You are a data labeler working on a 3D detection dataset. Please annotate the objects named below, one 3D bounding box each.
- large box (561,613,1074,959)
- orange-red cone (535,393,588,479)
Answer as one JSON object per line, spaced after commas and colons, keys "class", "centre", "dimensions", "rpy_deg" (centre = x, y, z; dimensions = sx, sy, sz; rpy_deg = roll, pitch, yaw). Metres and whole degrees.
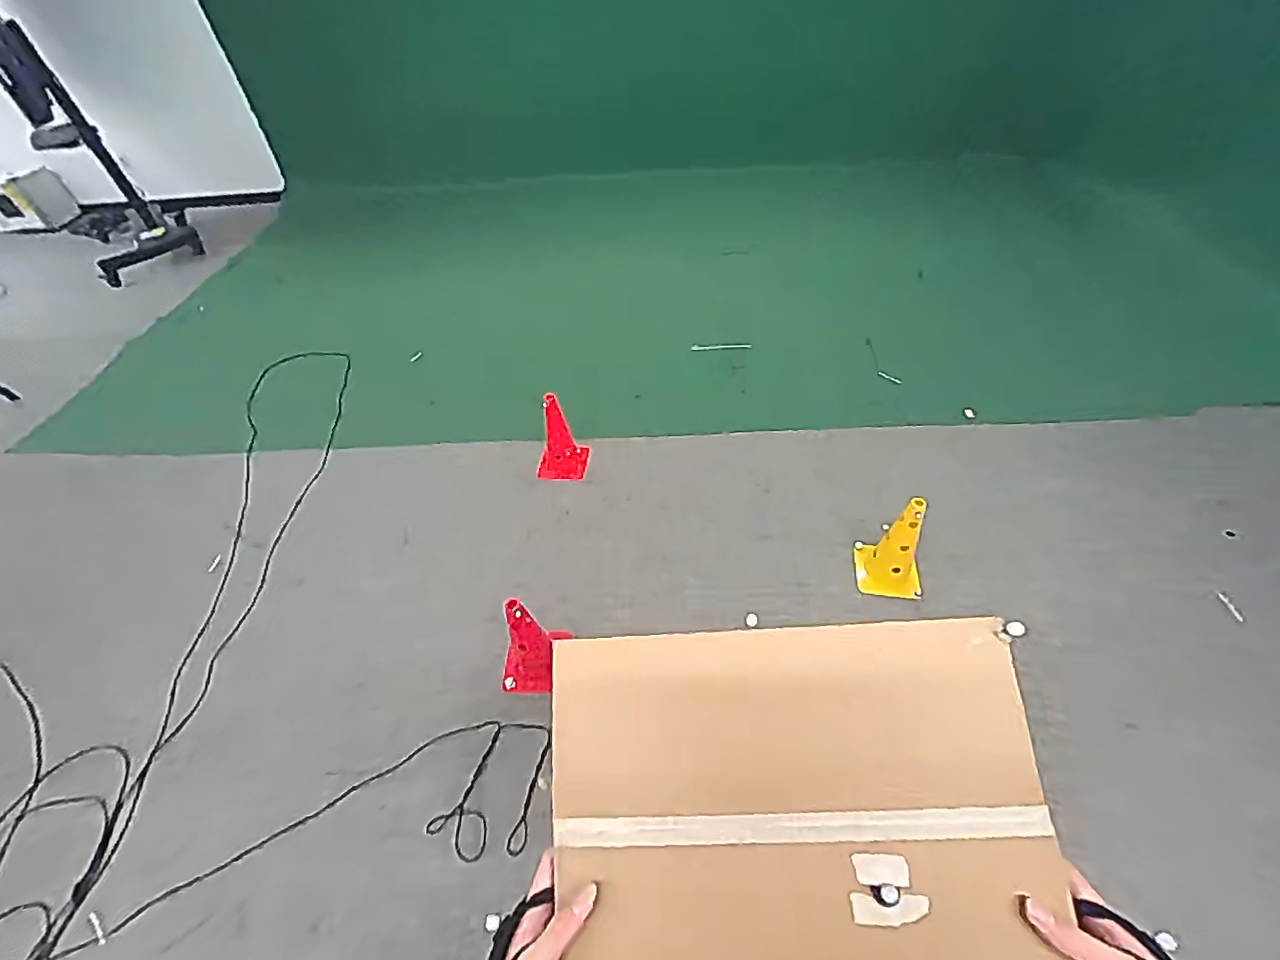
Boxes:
{"class": "large box", "centre": [0.144, 0.331, 0.605], "dimensions": [0.408, 0.320, 0.320], "rpy_deg": [-5, 73, 4]}
{"class": "orange-red cone", "centre": [-0.341, -0.193, 2.151], "dimensions": [0.199, 0.360, 0.198], "rpy_deg": [3, 47, 9]}
